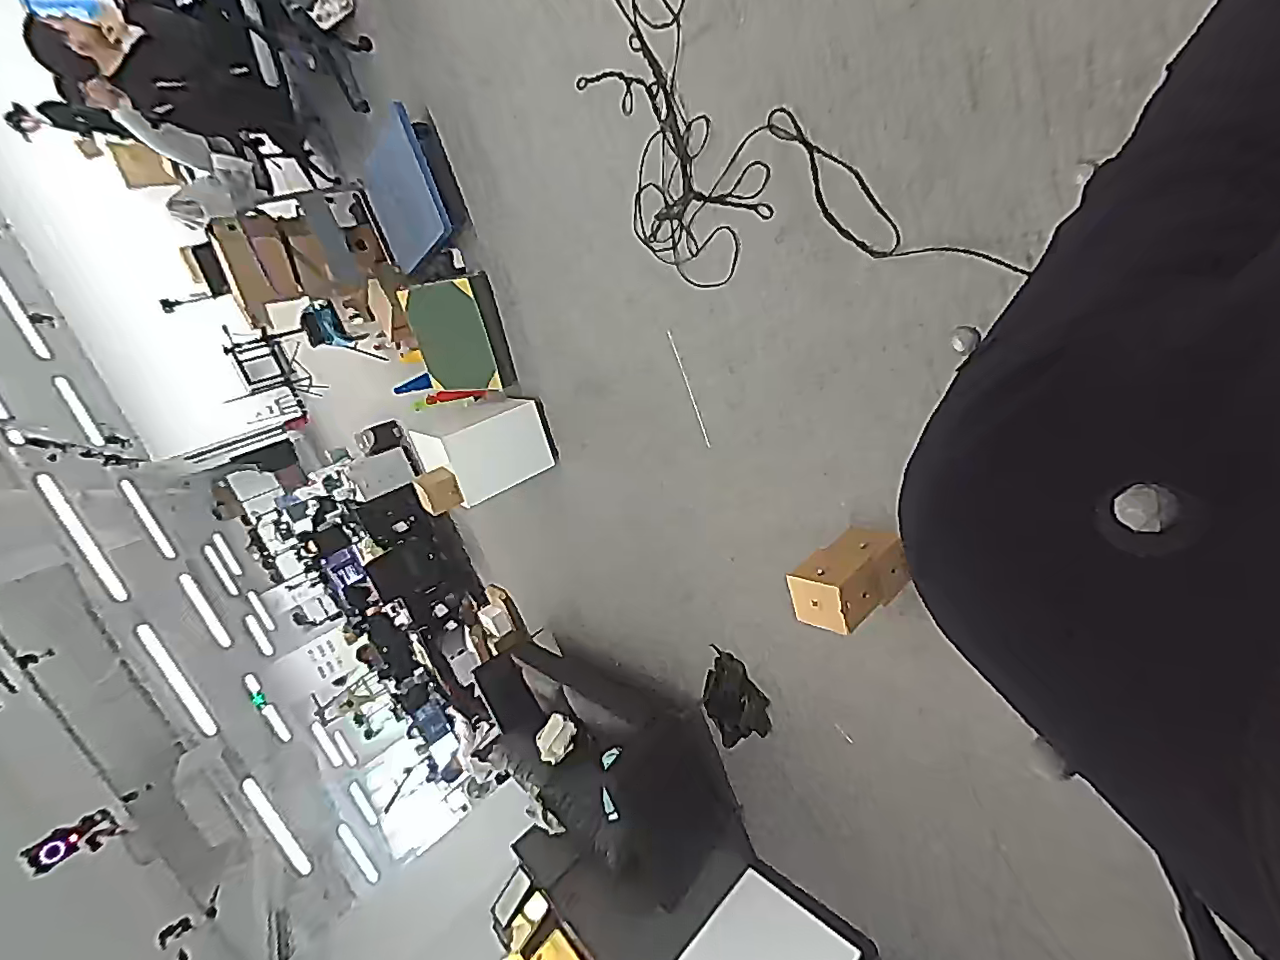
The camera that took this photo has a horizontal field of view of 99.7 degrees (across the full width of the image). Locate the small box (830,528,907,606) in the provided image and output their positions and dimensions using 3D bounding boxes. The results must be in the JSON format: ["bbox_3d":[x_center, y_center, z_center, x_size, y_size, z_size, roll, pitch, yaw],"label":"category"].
[{"bbox_3d":[0.708,0.261,1.679,0.179,0.176,0.168,4,118,52],"label":"small box"}]

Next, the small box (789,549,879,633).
[{"bbox_3d":[0.576,0.319,1.600,0.179,0.176,0.168,5,118,52],"label":"small box"}]
